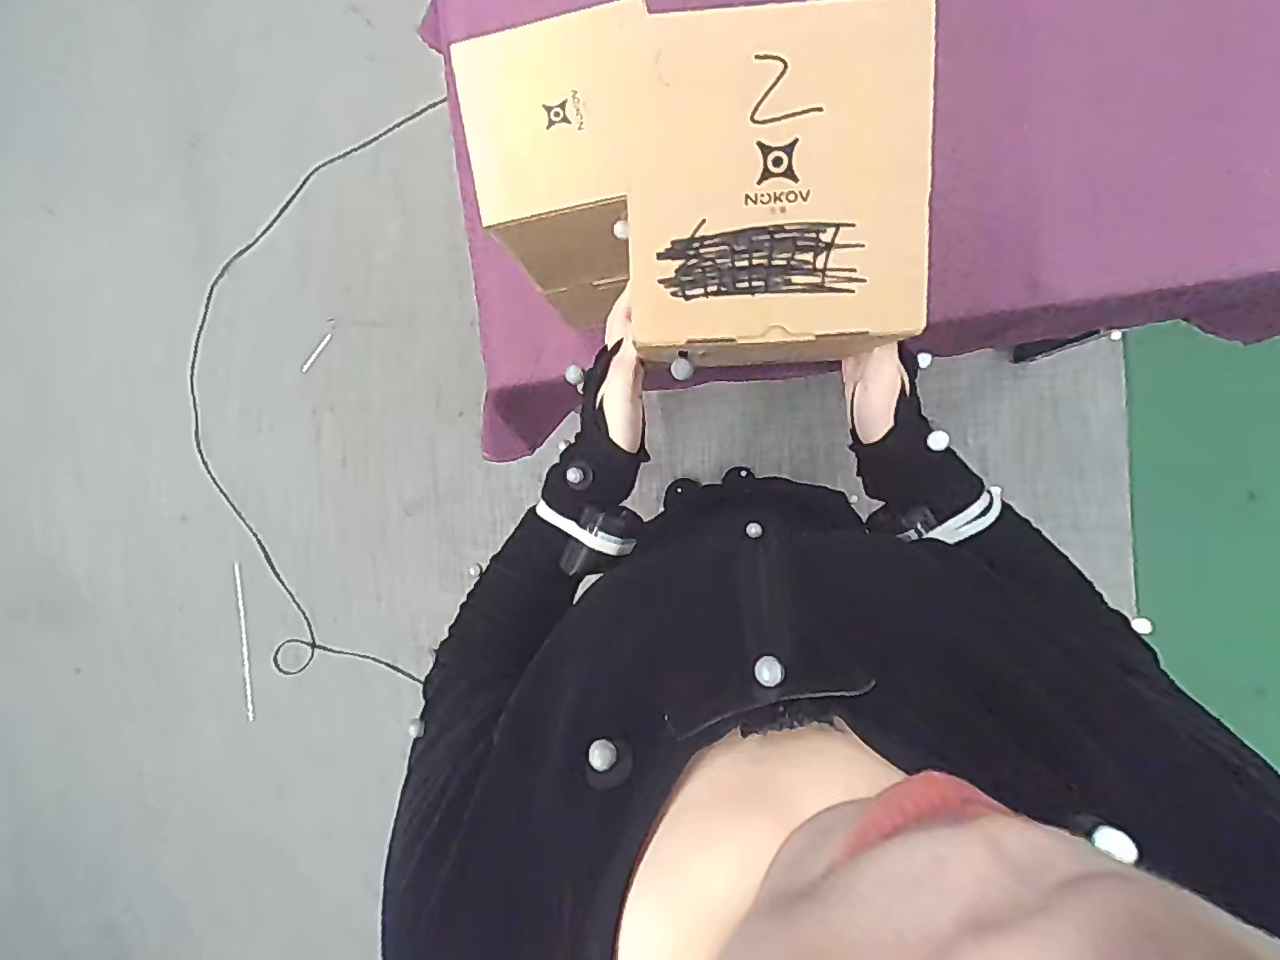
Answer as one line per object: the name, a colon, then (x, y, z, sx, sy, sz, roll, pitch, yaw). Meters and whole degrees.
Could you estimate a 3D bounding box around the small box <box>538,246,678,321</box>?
small box: (-0.043, -0.319, 0.706, 0.168, 0.176, 0.179, -9, 89, 5)

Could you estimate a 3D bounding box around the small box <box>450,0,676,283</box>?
small box: (-0.063, -0.317, 0.545, 0.179, 0.176, 0.168, -11, 90, 4)
